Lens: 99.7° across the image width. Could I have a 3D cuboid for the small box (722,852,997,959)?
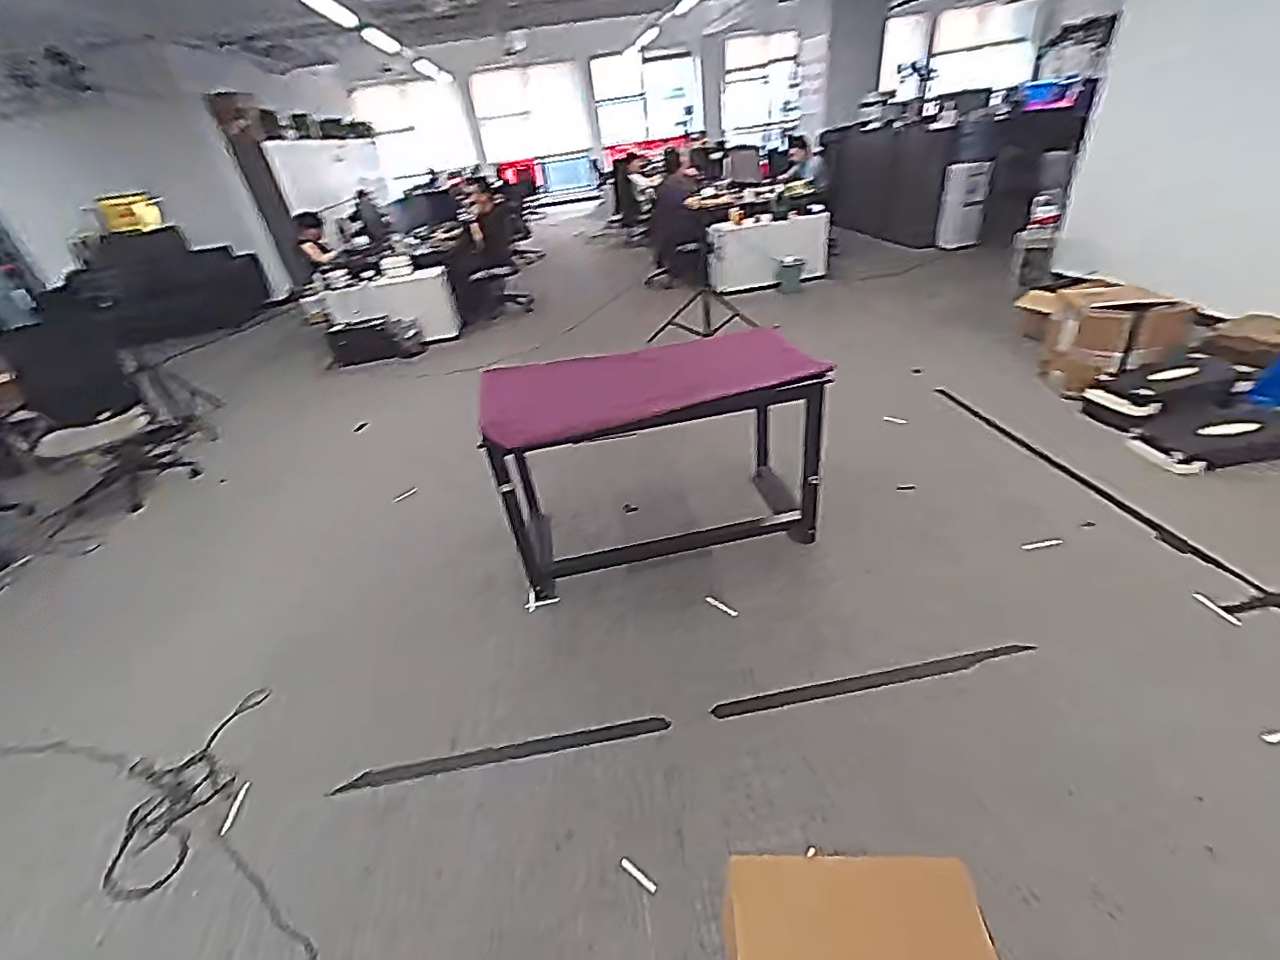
[{"bbox_3d":[0.154,0.393,0.392,0.179,0.176,0.168,-2,39,2],"label":"small box"}]
